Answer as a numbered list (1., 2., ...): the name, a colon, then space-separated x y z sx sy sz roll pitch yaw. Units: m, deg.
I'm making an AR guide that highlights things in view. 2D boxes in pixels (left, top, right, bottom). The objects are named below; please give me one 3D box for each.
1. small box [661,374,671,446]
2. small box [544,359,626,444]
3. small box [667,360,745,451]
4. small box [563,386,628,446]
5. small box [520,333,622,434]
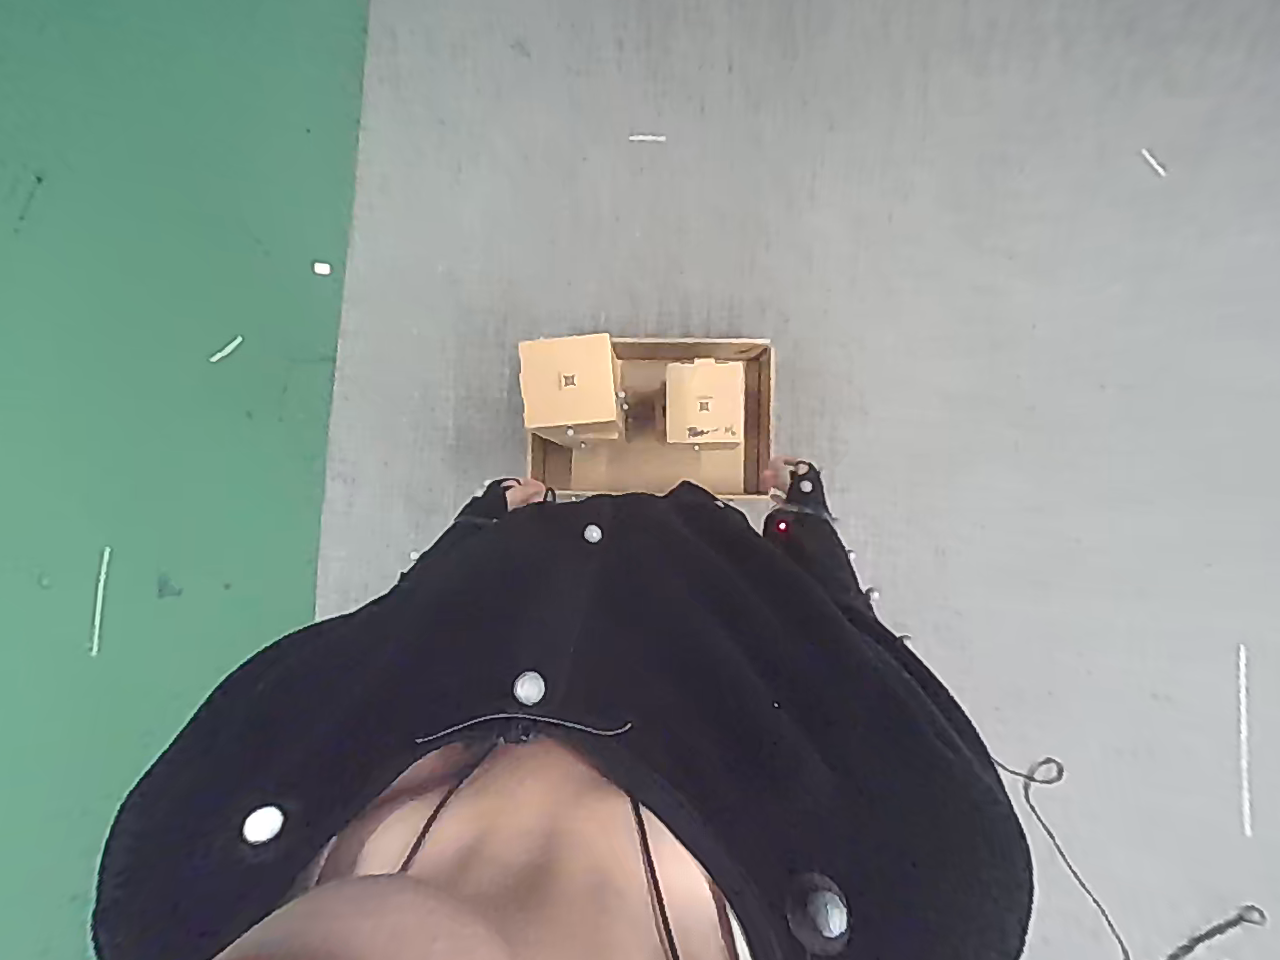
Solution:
1. small box: 0.148 -0.181 1.397 0.179 0.176 0.168 -4 88 3
2. small box: -0.120 -0.177 1.247 0.168 0.176 0.179 2 88 2
3. small box: 0.145 -0.165 1.232 0.168 0.176 0.179 0 87 4
4. small box: -0.123 -0.178 1.411 0.179 0.176 0.168 -2 88 1
5. small box: -0.130 -0.186 1.085 0.179 0.176 0.168 -5 89 2
